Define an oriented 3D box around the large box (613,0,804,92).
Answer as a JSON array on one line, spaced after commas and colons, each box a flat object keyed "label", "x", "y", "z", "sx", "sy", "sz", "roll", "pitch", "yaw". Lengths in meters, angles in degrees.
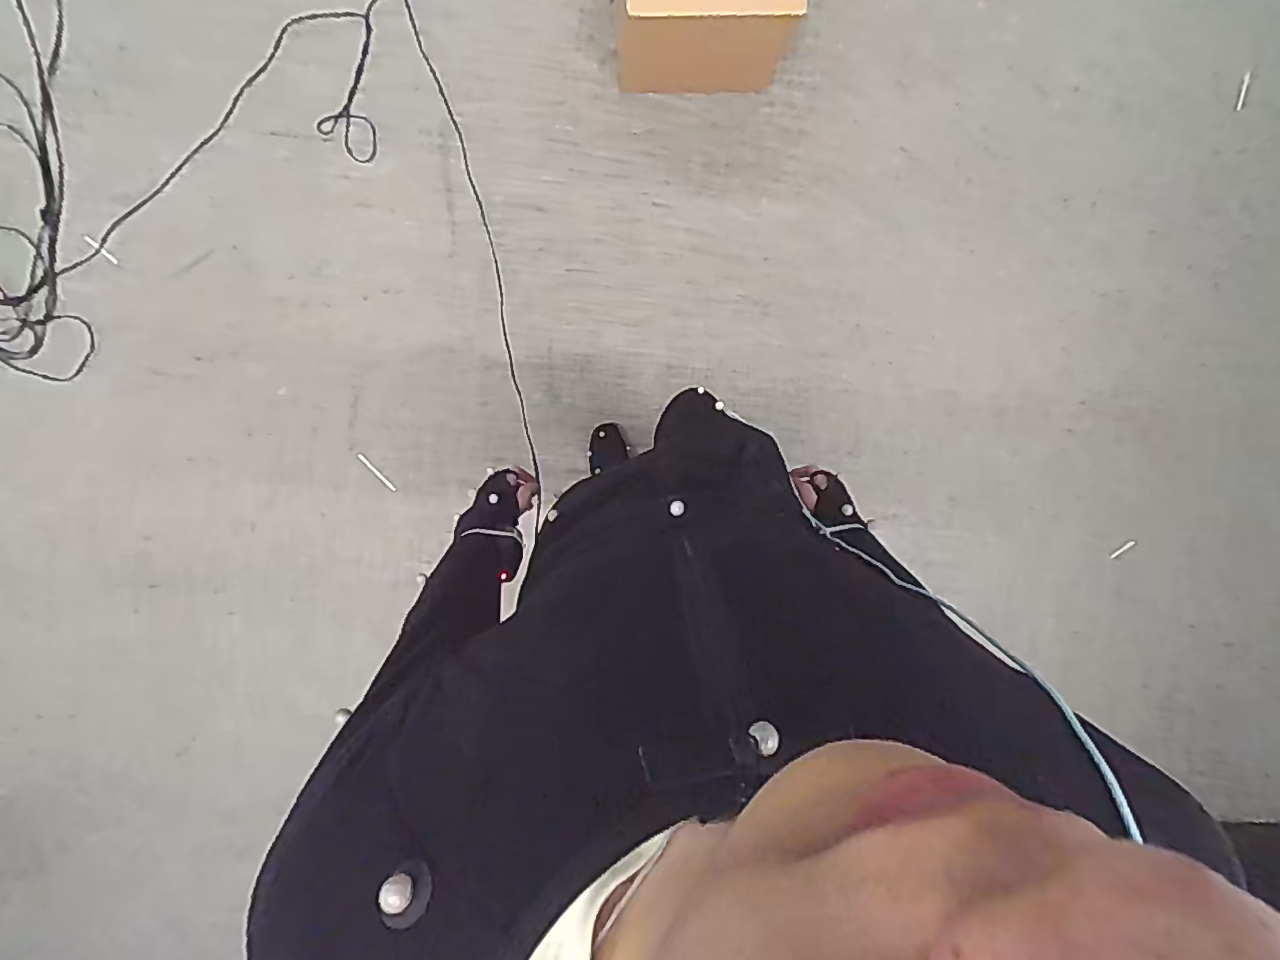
[{"label": "large box", "x": 0.143, "y": -1.194, "z": 1.312, "sx": 0.408, "sy": 0.320, "sz": 0.320, "roll": -4, "pitch": 99, "yaw": -5}]
